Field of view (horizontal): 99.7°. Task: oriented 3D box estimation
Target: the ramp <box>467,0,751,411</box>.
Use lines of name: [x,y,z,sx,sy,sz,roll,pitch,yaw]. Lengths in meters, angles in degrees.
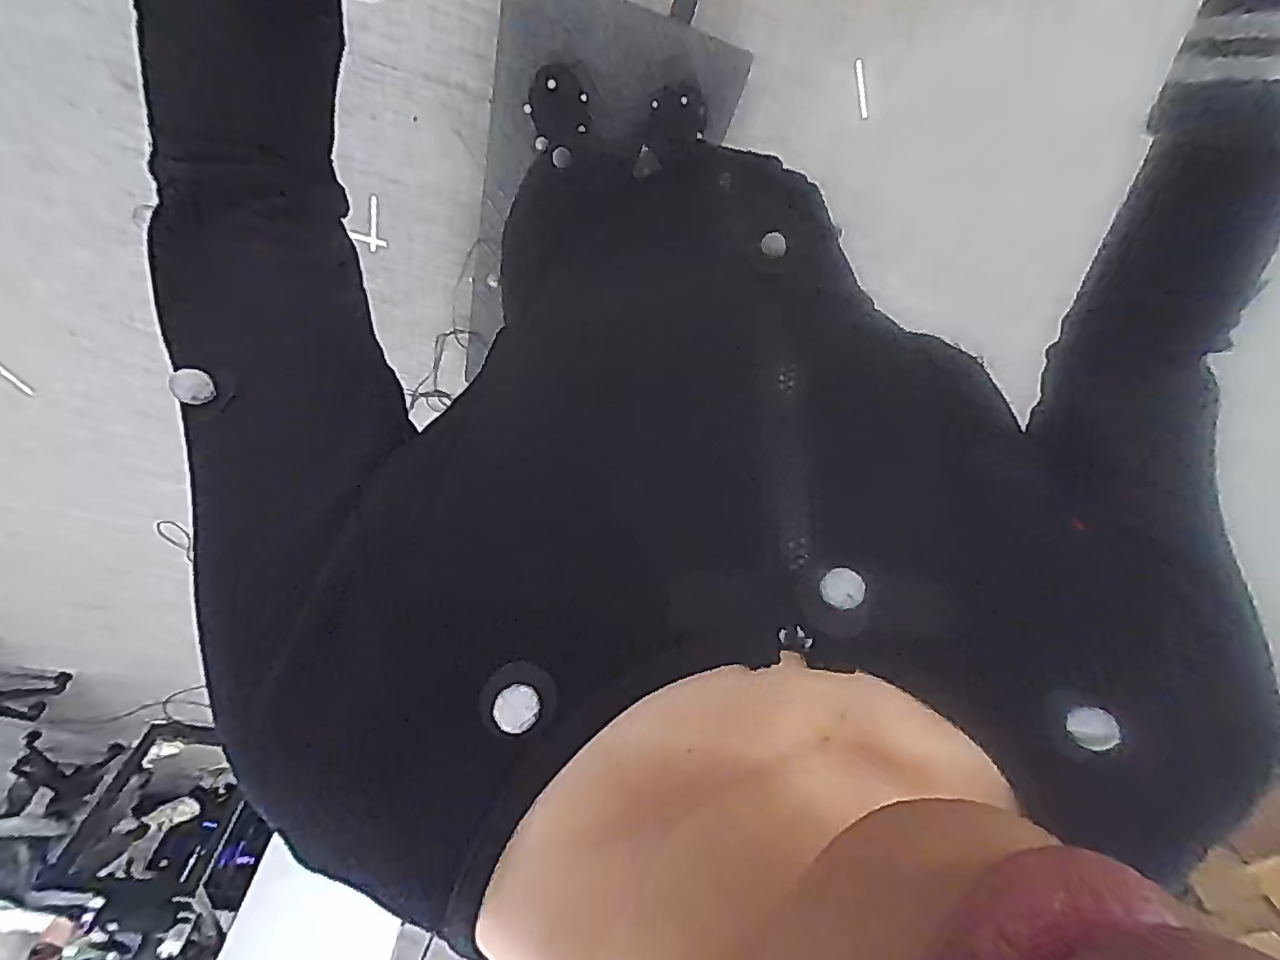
ramp: [-0.153,-0.589,1.364,0.509,0.206,0.991,10,127,-12]
